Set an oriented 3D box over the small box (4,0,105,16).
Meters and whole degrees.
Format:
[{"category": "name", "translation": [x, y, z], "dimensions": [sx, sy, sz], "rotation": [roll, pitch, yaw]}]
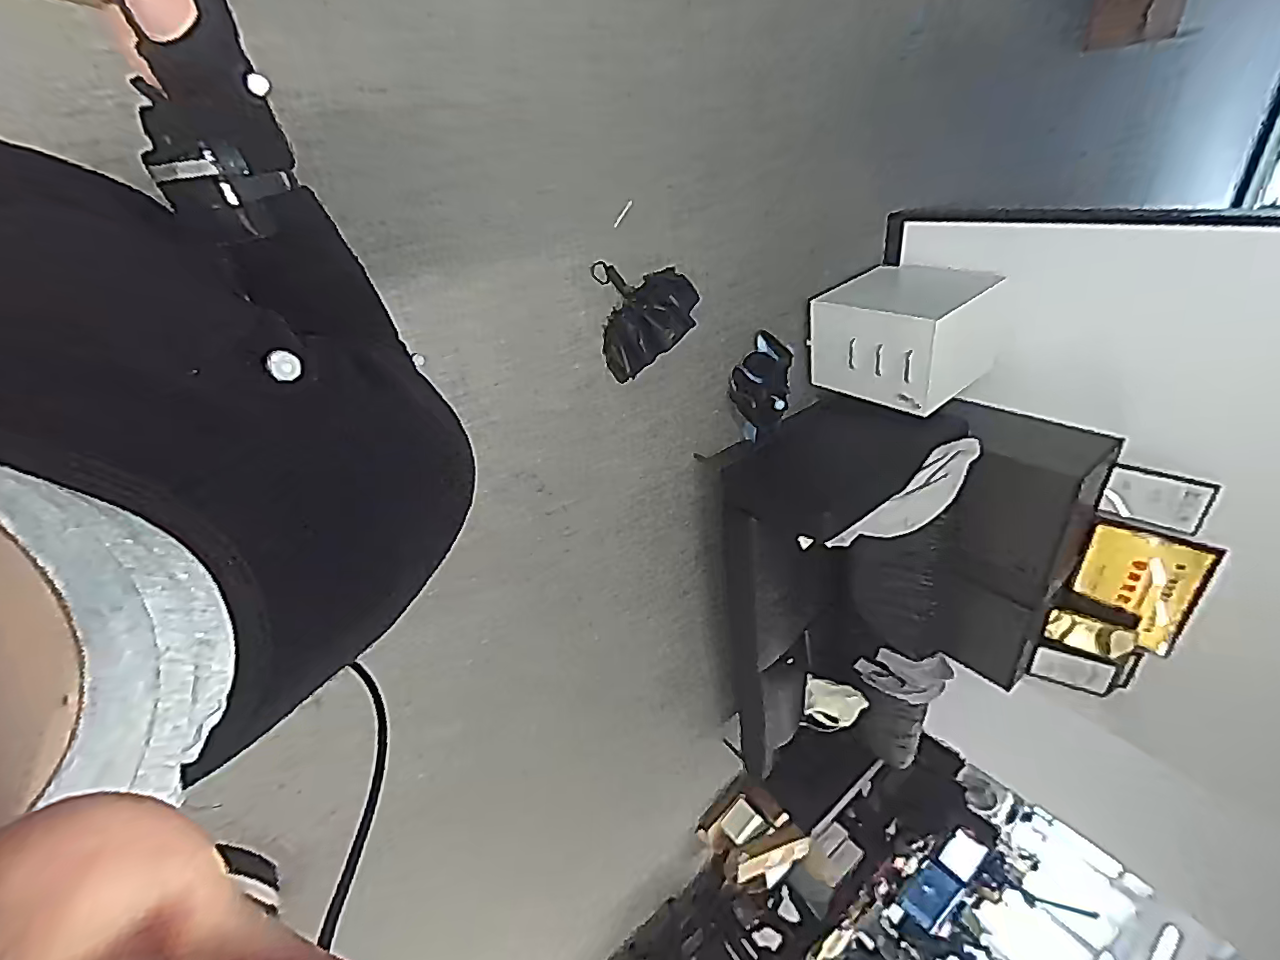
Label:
[{"category": "small box", "translation": [-0.342, -0.311, 0.202], "dimensions": [0.168, 0.176, 0.179], "rotation": [-12, 128, -34]}]
